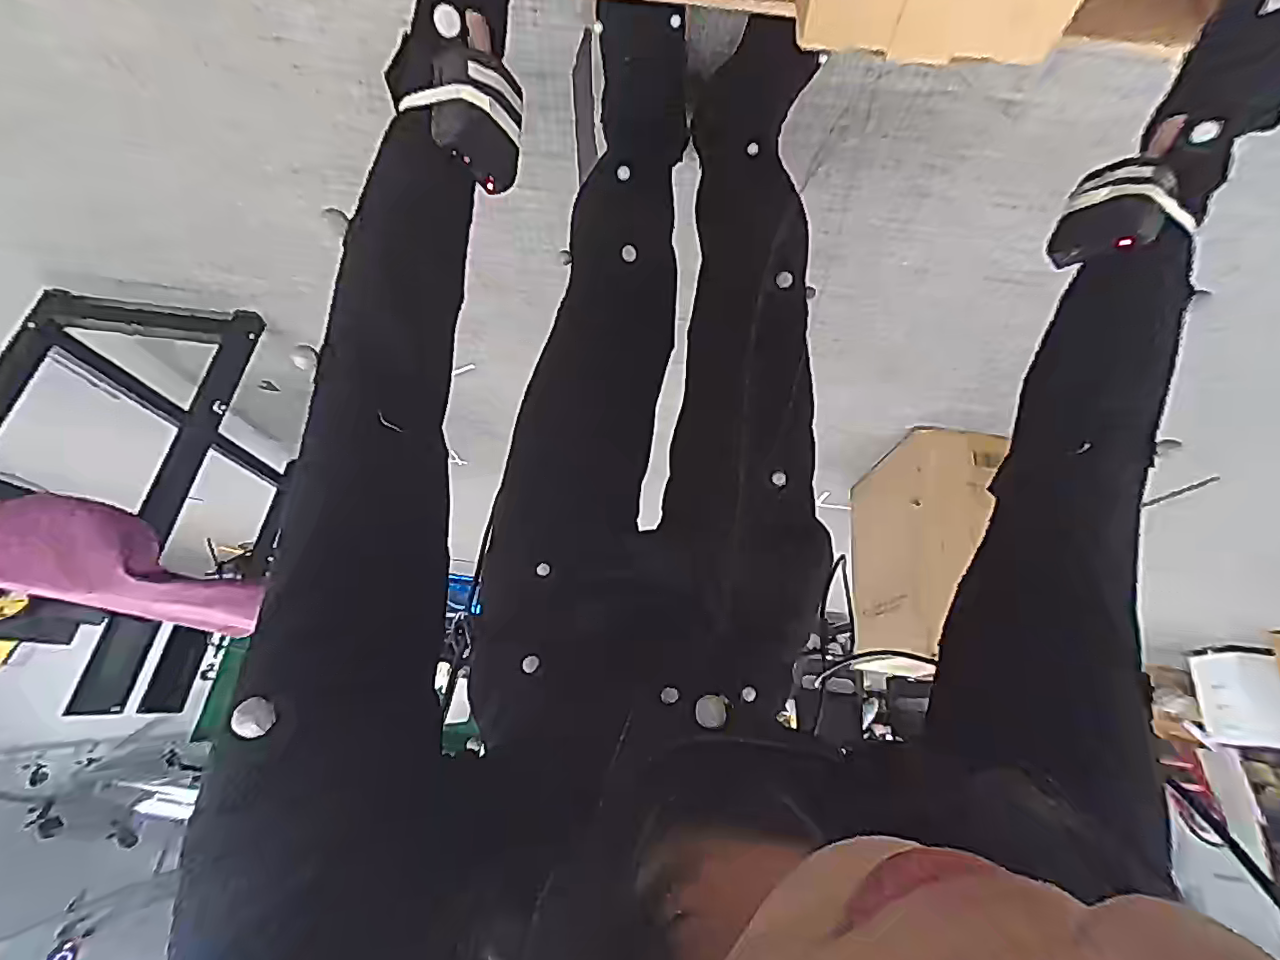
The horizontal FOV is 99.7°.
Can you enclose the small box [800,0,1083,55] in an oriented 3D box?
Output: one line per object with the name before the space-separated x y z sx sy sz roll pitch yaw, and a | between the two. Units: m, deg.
small box | 0.198 -0.395 0.310 0.168 0.176 0.179 5 158 2
